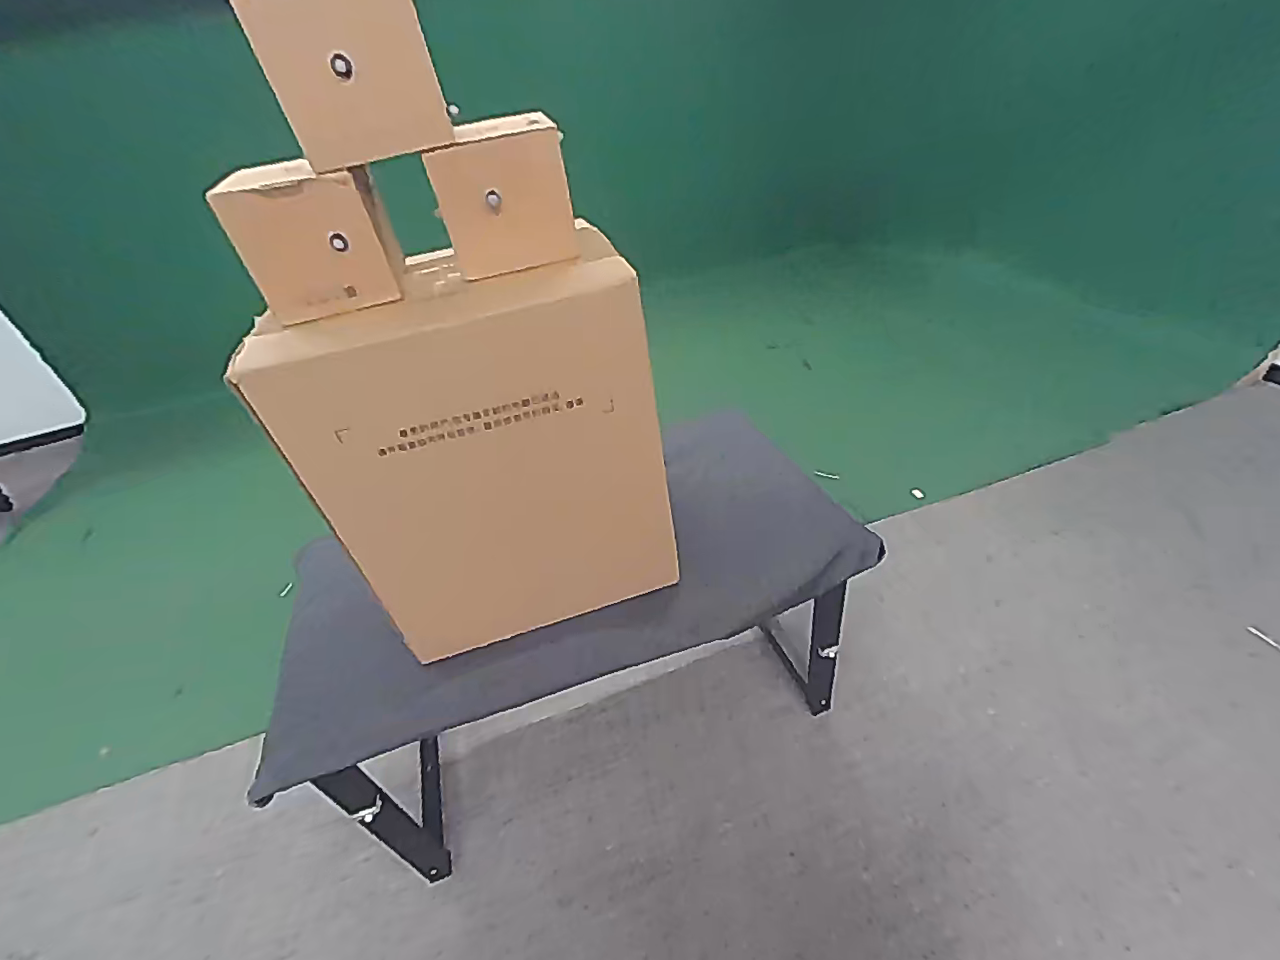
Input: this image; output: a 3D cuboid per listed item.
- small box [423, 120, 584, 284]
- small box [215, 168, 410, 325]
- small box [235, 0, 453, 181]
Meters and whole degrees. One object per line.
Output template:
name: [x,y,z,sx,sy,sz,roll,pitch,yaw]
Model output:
small box: [-0.197,-0.408,0.796,0.179,0.176,0.168,-17,42,-6]
small box: [-0.440,-0.332,0.763,0.168,0.176,0.179,-16,39,-9]
small box: [-0.343,-0.493,0.673,0.179,0.176,0.168,-18,41,-7]
